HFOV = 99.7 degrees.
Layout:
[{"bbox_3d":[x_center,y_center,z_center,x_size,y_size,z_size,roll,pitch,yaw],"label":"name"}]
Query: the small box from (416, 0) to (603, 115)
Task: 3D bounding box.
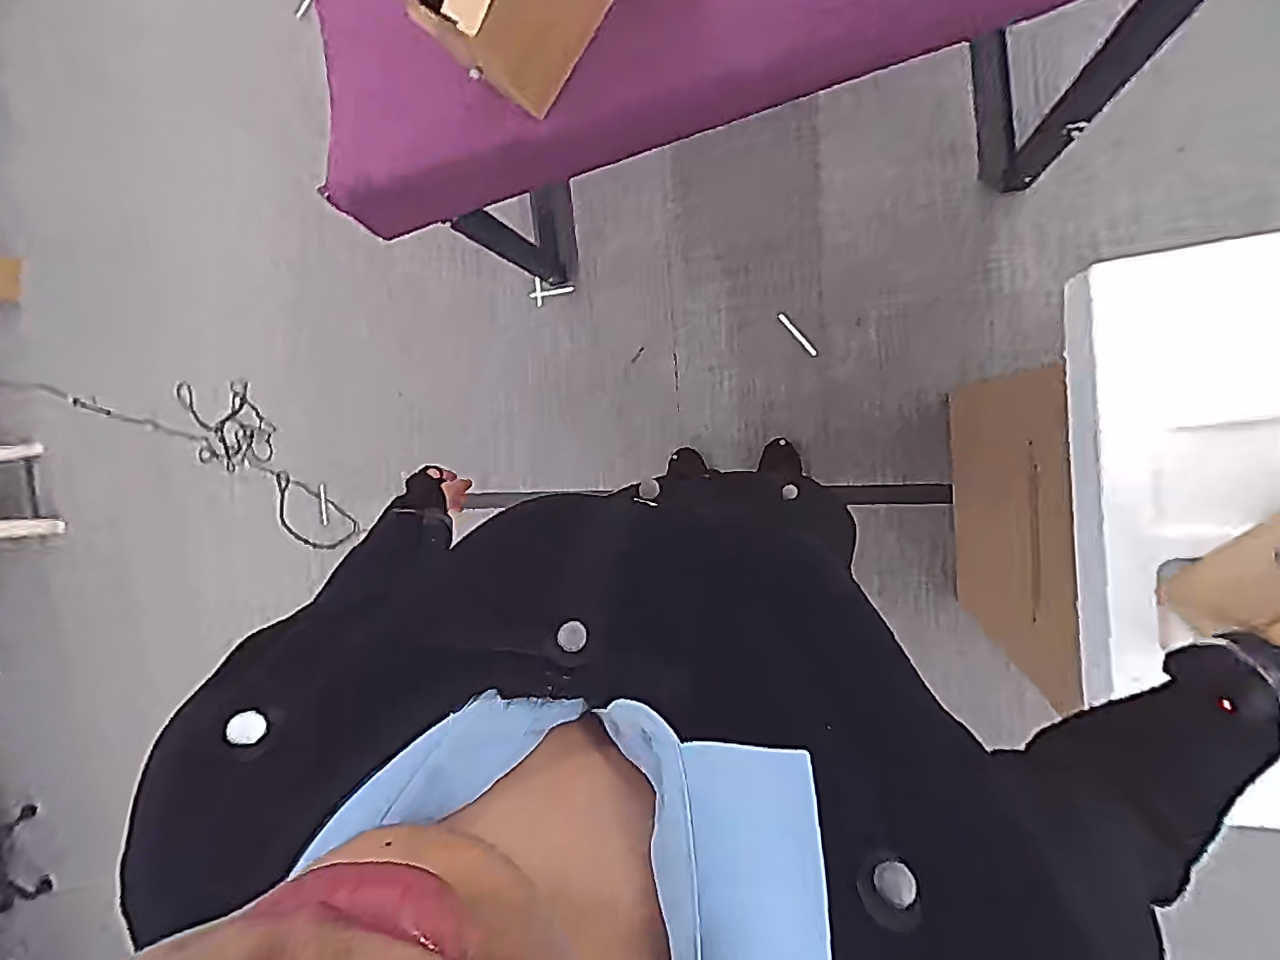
[{"bbox_3d":[-0.167,-0.619,0.678,0.168,0.176,0.179,41,104,11],"label":"small box"}]
